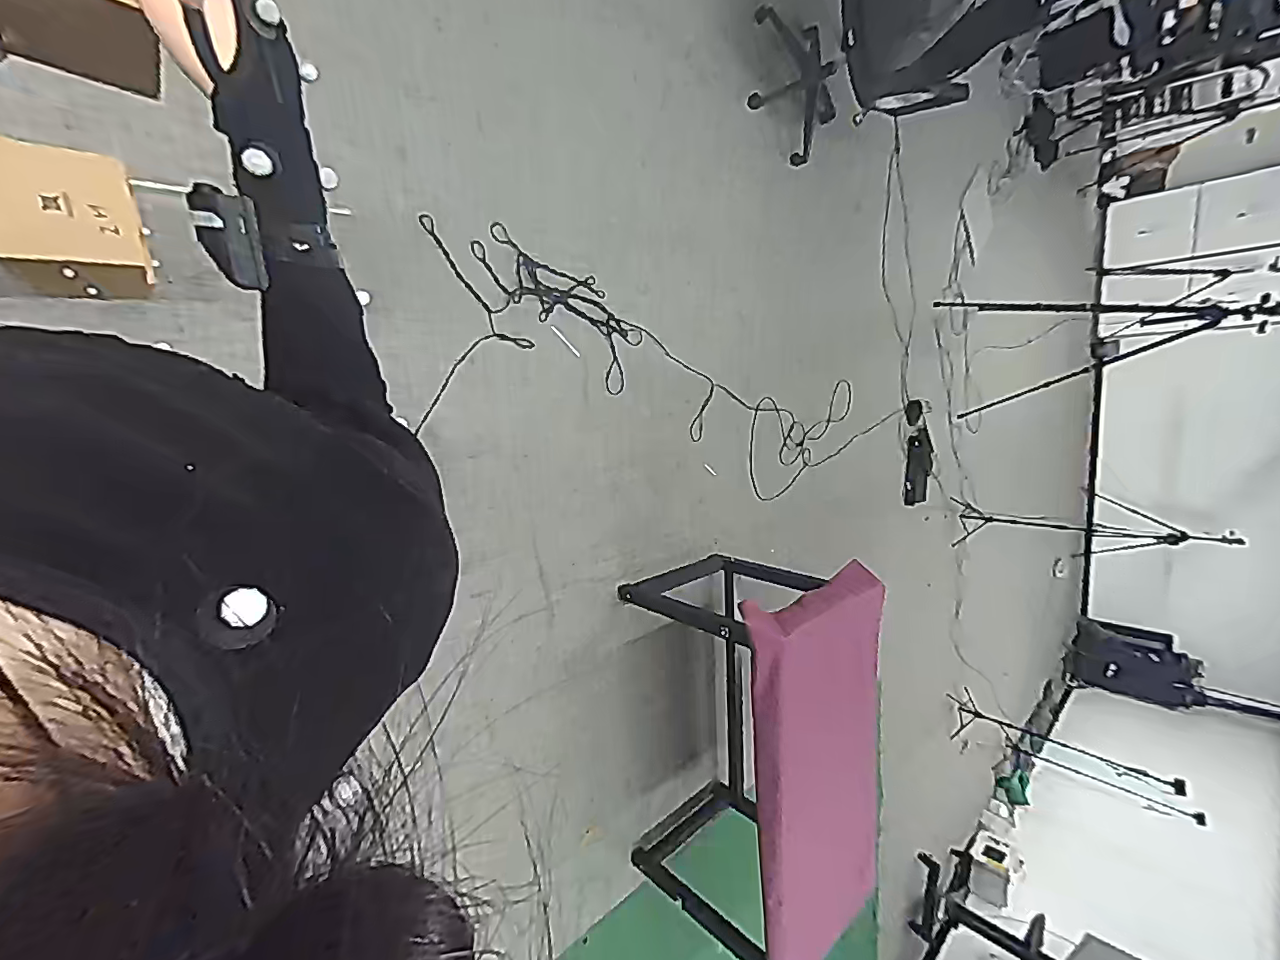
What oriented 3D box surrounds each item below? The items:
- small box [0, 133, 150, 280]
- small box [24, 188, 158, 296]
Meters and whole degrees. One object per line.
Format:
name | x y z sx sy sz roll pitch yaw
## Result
small box | -0.921 -0.426 0.870 0.179 0.176 0.168 -13 104 -40
small box | -1.022 -0.441 0.999 0.179 0.176 0.168 -13 103 -40
